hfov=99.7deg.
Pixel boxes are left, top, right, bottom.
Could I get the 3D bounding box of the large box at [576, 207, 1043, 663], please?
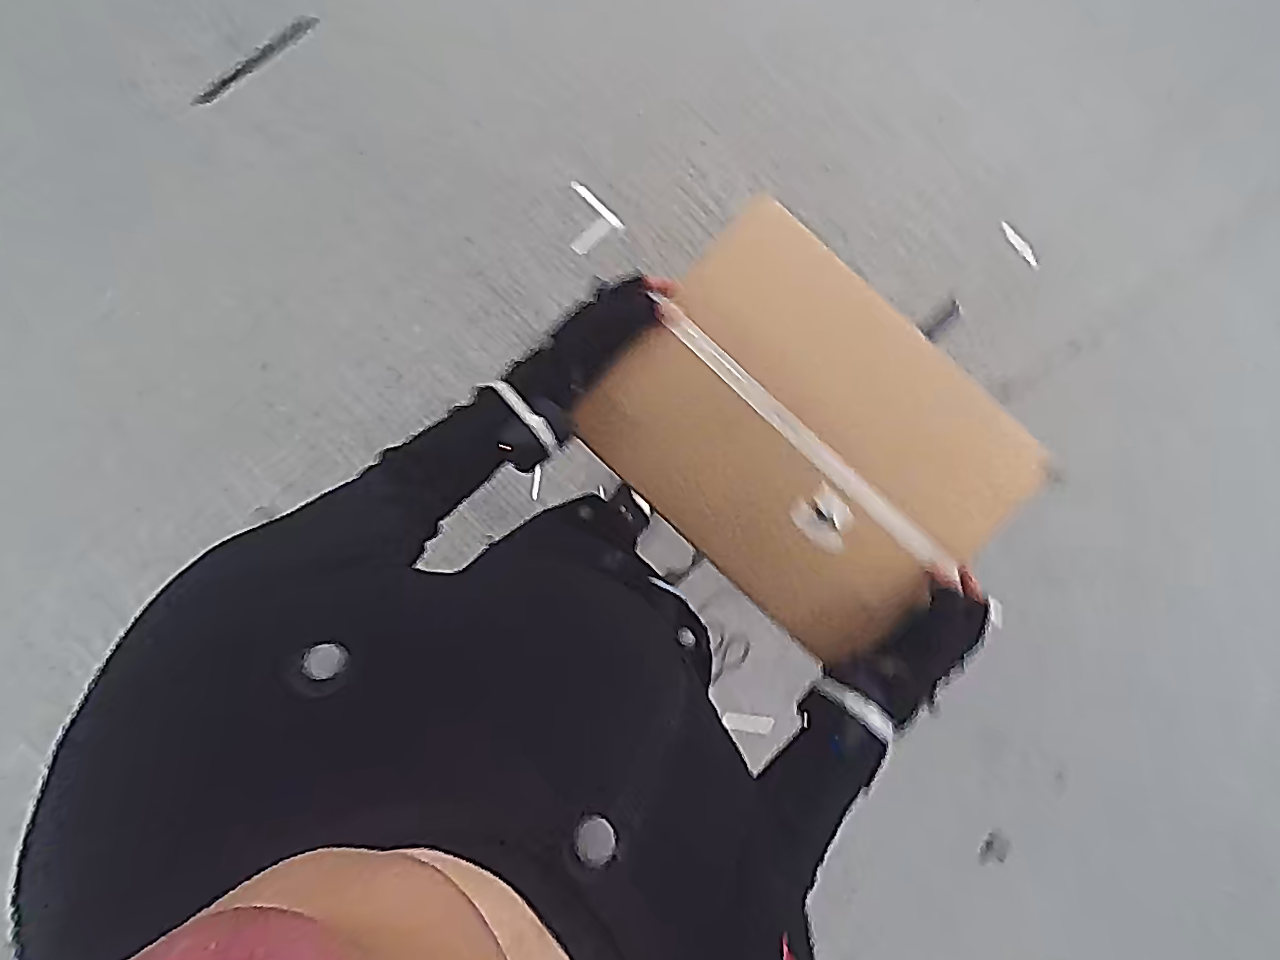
[{"bbox_3d":[0.178,-0.051,0.718,0.408,0.320,0.320,44,93,0],"label":"large box"}]
